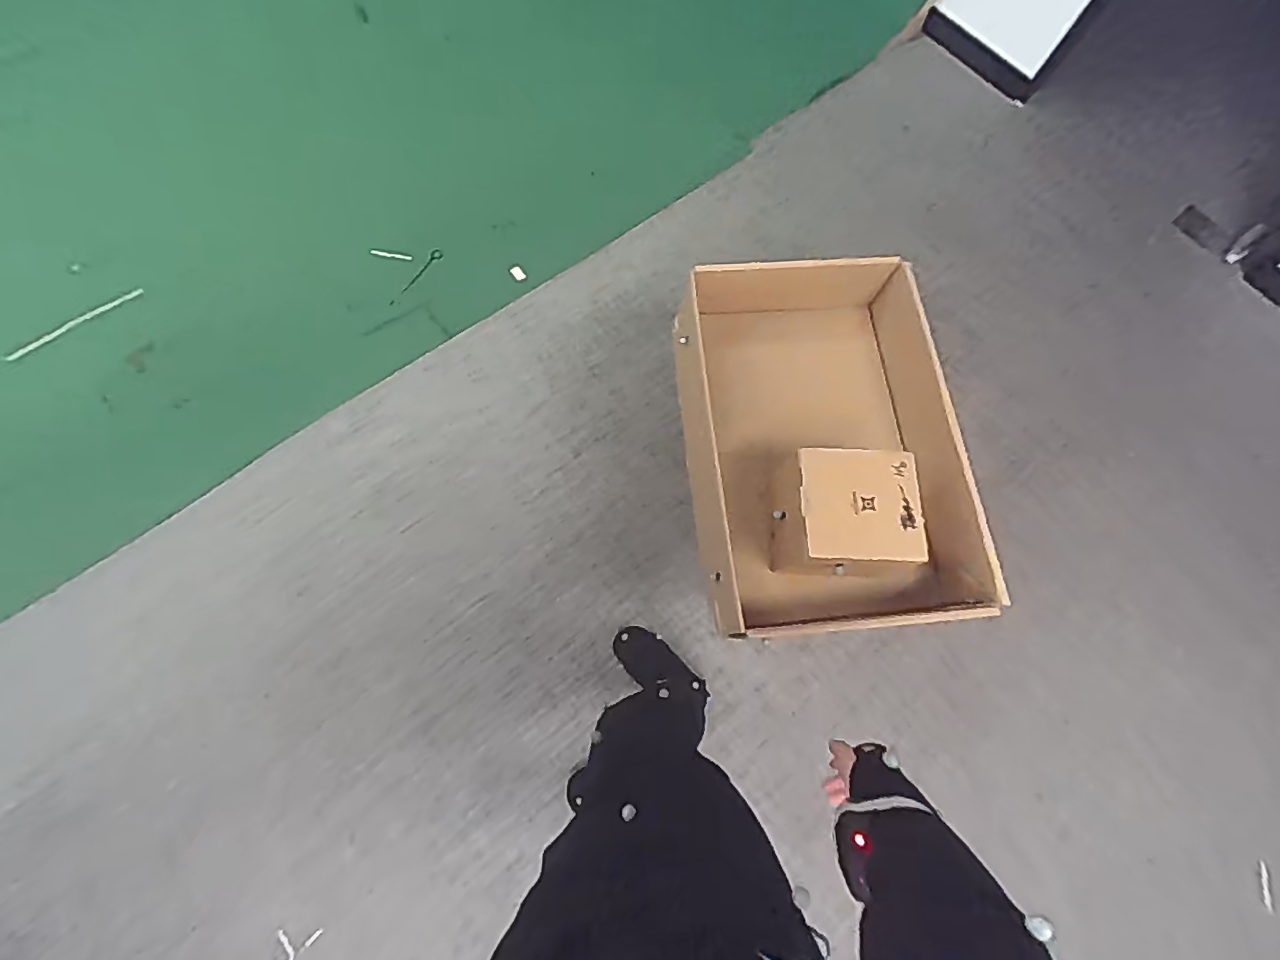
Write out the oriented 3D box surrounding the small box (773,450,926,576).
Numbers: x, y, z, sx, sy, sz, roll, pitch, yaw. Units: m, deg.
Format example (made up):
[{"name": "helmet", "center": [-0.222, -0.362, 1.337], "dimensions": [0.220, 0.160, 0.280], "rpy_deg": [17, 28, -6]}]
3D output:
[{"name": "small box", "center": [0.314, 0.059, 0.853], "dimensions": [0.179, 0.176, 0.168], "rpy_deg": [2, 73, -2]}]
